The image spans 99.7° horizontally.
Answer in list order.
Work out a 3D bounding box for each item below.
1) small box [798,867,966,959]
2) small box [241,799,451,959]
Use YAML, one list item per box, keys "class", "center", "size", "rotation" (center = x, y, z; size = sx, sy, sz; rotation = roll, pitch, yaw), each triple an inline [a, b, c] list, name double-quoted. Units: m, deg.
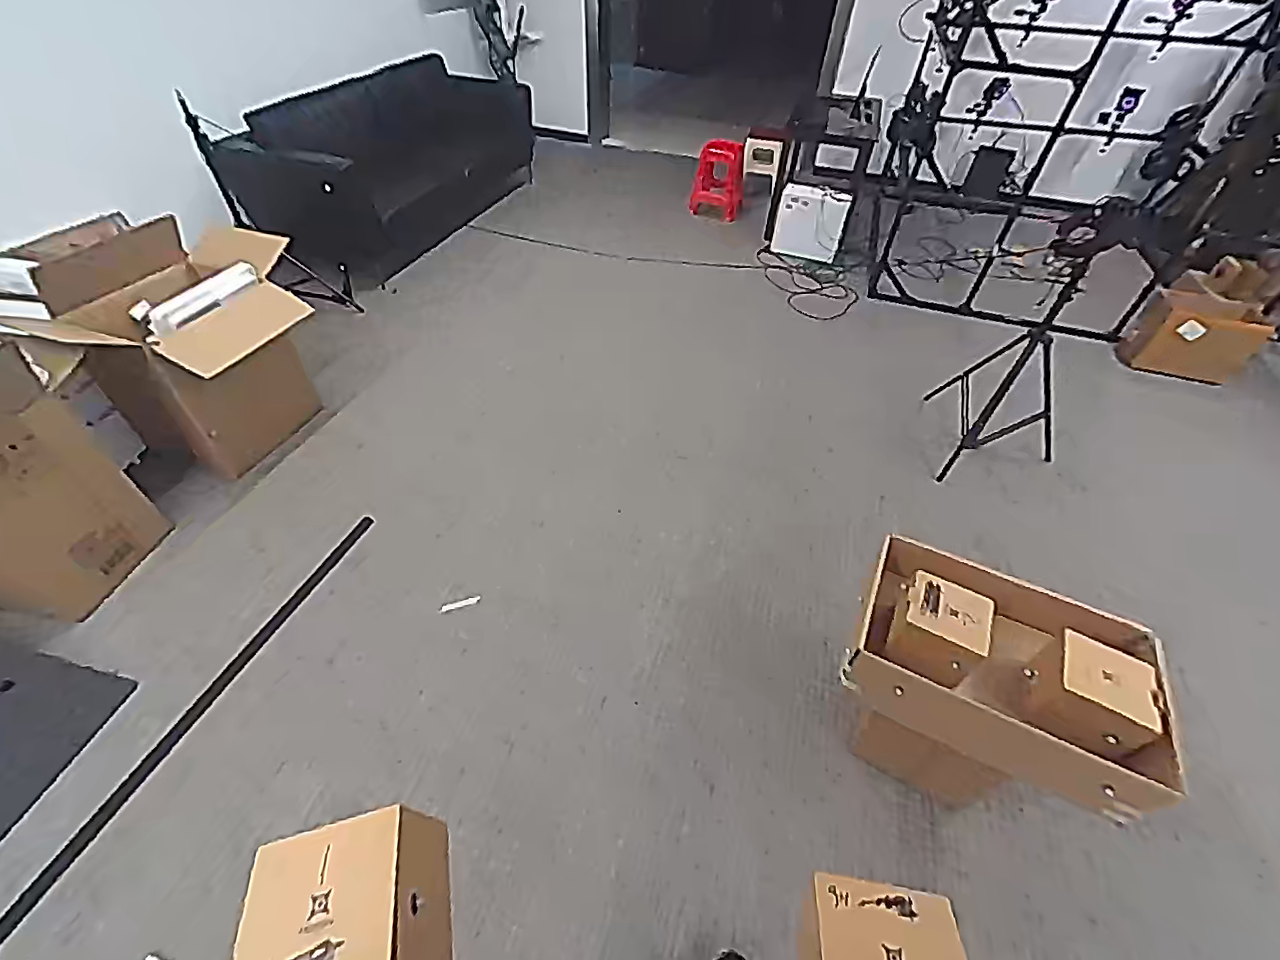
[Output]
- class: "small box"
  center: [0.287, 0.618, 0.649]
  size: [0.168, 0.176, 0.179]
  rotation: [5, 28, 10]
- class: "small box"
  center: [-0.334, 0.511, 0.644]
  size: [0.168, 0.176, 0.179]
  rotation: [-14, 50, -7]
